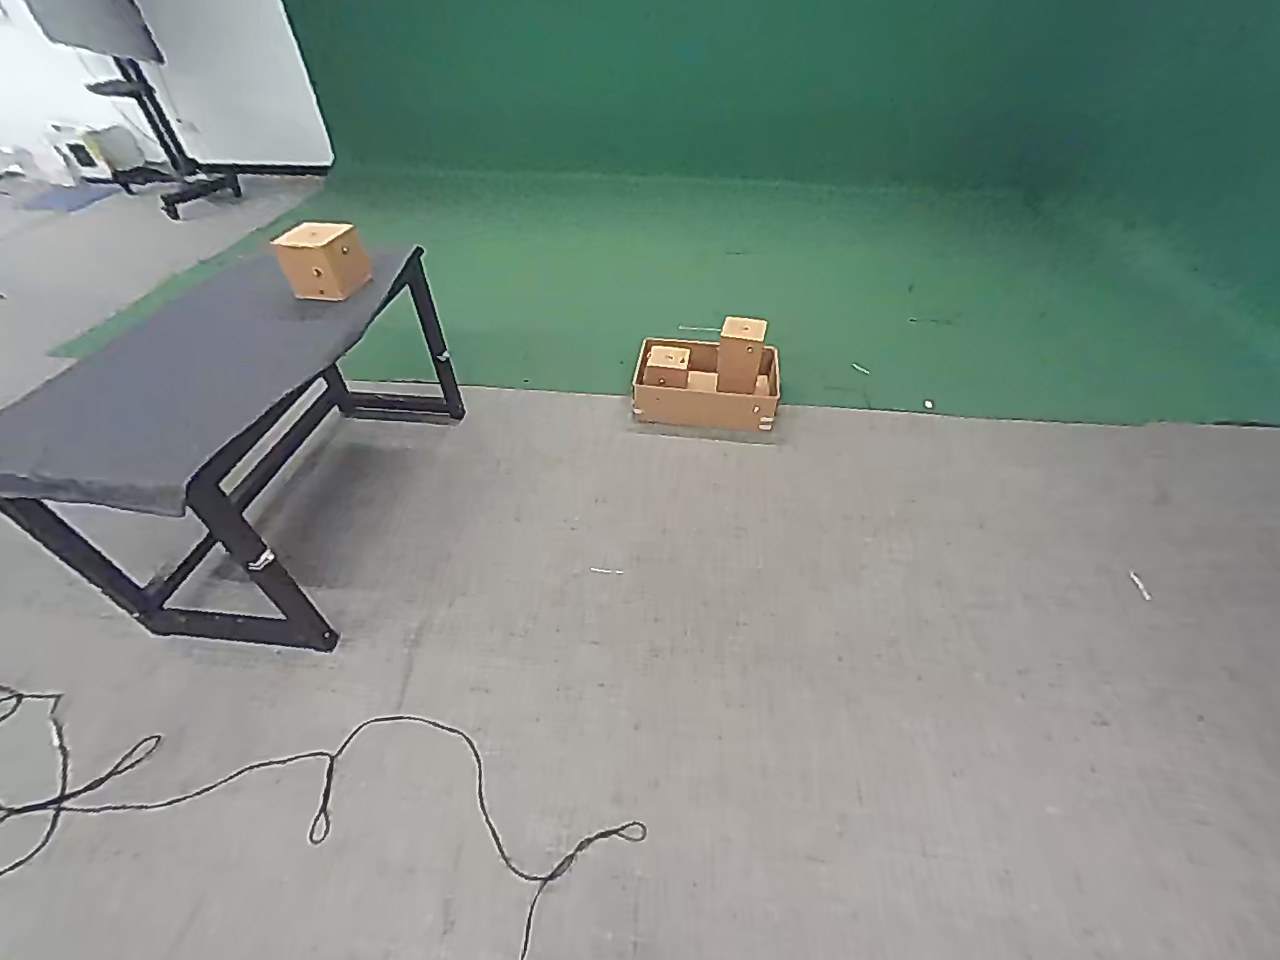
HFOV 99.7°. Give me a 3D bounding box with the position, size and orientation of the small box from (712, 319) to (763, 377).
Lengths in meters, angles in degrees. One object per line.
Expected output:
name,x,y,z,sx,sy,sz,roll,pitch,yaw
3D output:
small box,0.411,-0.555,2.282,0.179,0.176,0.168,11,46,11

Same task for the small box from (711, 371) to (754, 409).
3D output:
small box,0.412,-0.442,2.402,0.168,0.176,0.179,10,47,11

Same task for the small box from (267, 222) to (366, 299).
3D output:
small box,-0.969,-0.666,1.642,0.168,0.176,0.179,7,44,7
